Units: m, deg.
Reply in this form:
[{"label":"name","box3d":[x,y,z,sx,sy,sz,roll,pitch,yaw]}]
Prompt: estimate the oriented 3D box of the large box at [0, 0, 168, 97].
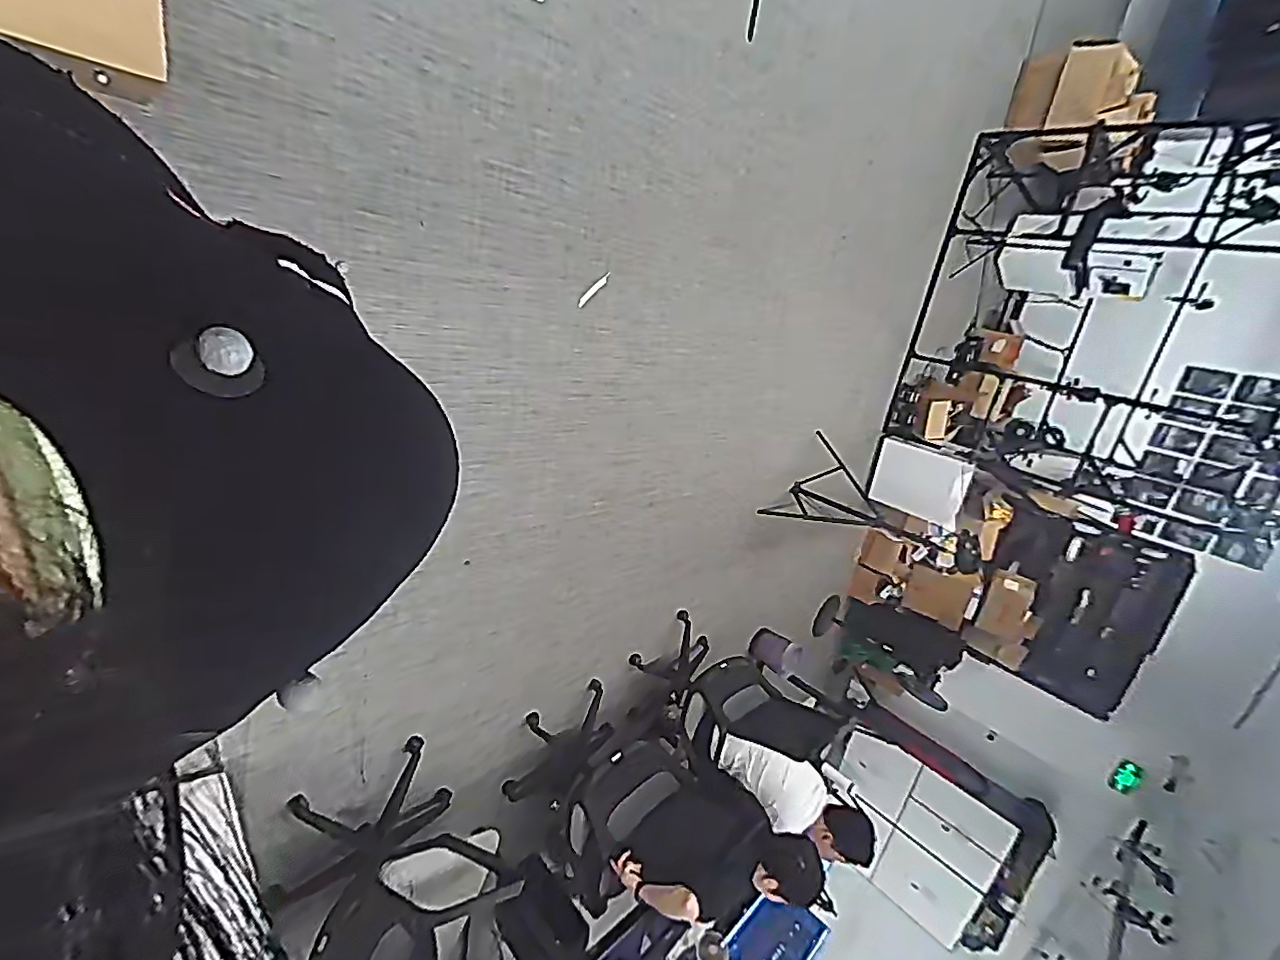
[{"label":"large box","box3d":[-0.929,-0.769,0.724,0.408,0.320,0.320,-9,116,-44]}]
